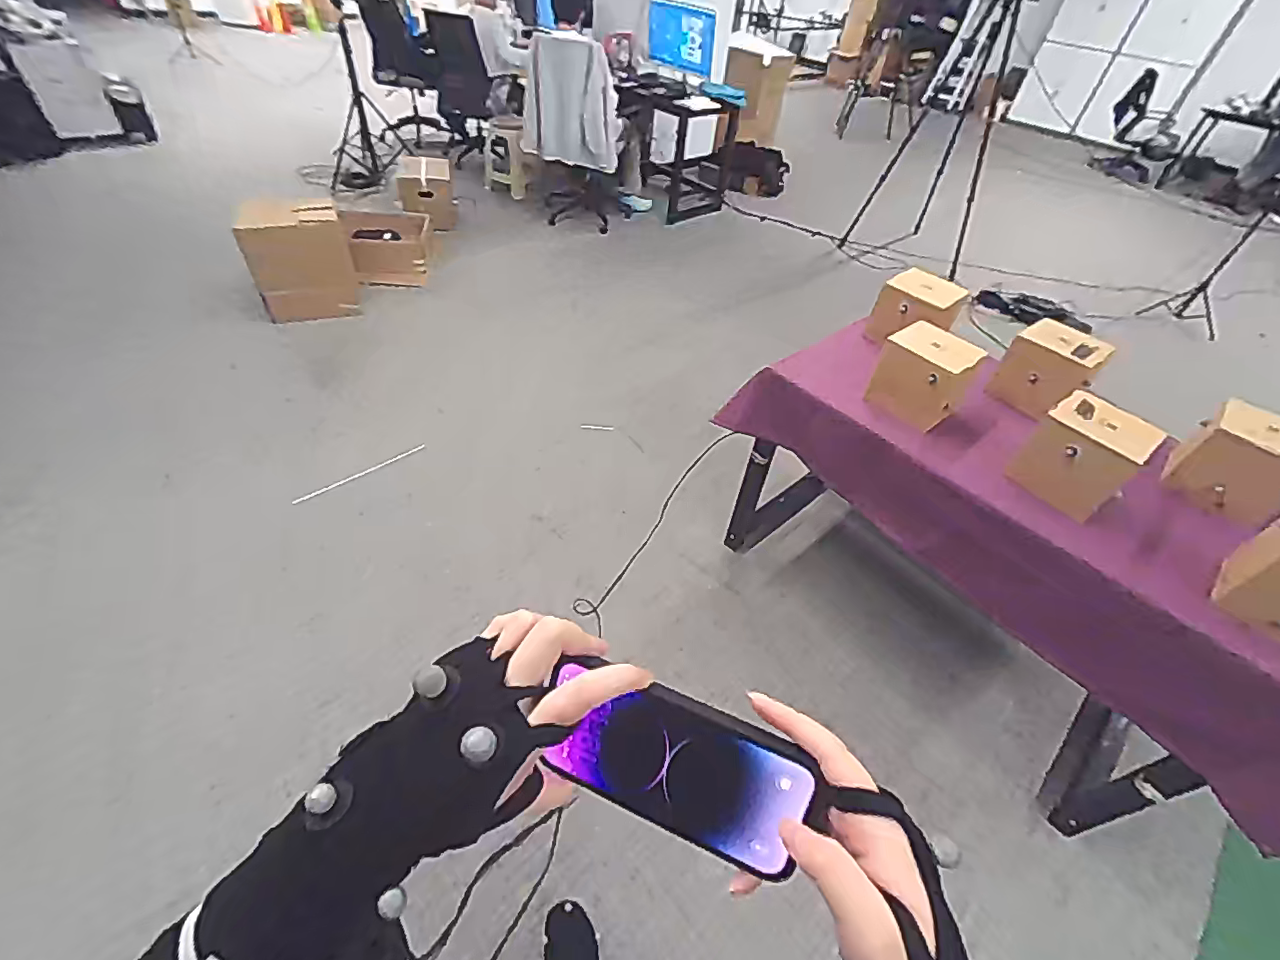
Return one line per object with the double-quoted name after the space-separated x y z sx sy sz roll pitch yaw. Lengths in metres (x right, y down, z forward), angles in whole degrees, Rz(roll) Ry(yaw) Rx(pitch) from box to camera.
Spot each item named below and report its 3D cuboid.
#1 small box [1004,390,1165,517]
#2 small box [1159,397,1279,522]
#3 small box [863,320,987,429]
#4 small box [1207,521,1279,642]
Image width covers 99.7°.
0.913 -0.055 1.126 0.168 0.176 0.179 -27 55 -29 "small box"
1.277 -0.044 1.160 0.179 0.176 0.168 -32 56 -32 "small box"
0.670 -0.251 1.291 0.168 0.176 0.179 -28 56 -30 "small box"
1.154 0.178 0.926 0.168 0.176 0.179 -30 56 -32 "small box"
